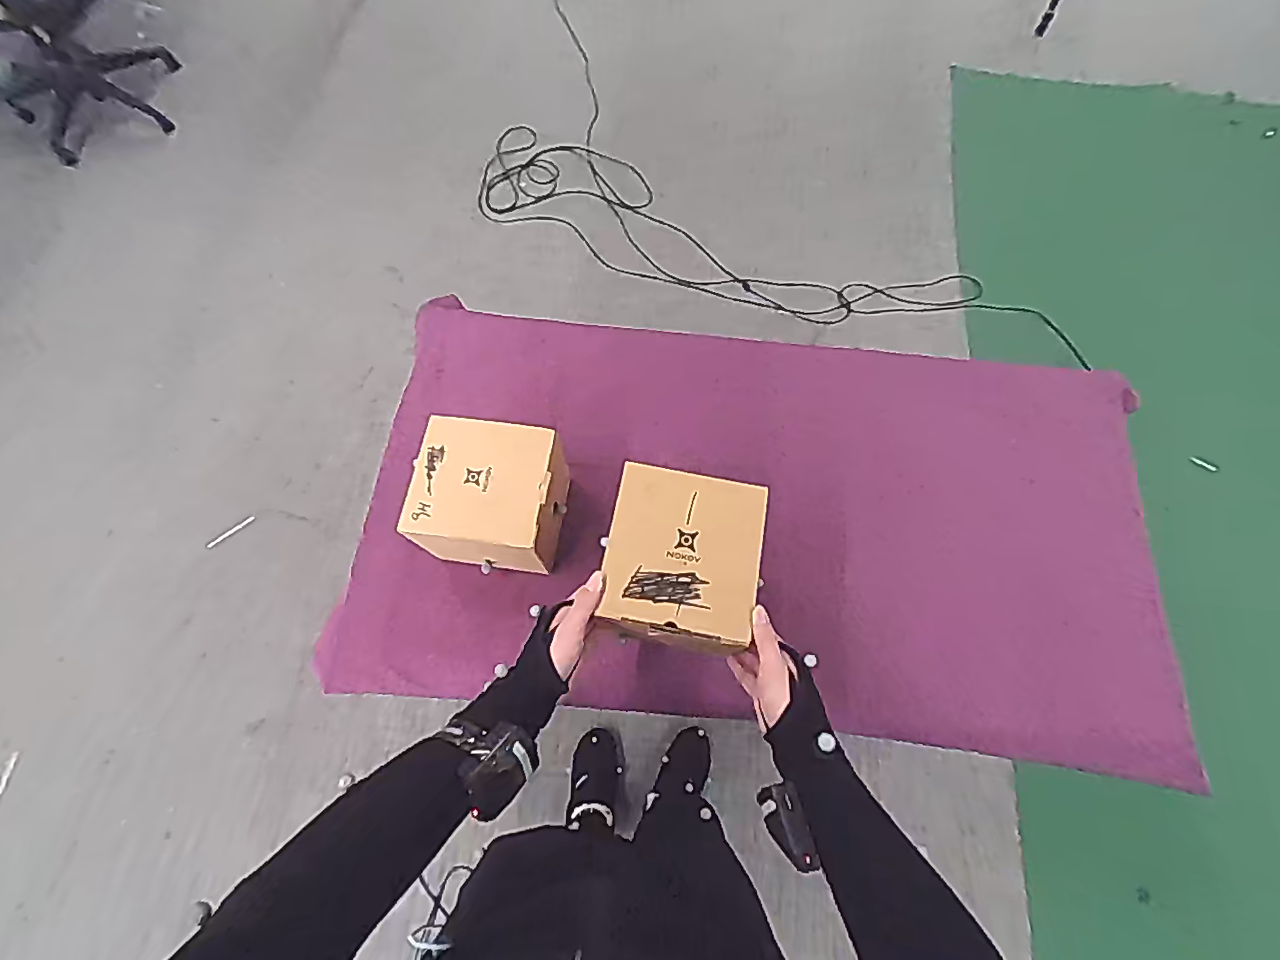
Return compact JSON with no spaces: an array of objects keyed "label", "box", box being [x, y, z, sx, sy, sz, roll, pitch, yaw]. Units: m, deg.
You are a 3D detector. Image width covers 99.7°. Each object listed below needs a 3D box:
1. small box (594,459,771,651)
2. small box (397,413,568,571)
[{"label":"small box","box":[0.048,0.099,0.648,0.168,0.176,0.179,11,68,3]},{"label":"small box","box":[-0.205,0.026,0.765,0.179,0.176,0.168,8,70,1]}]
